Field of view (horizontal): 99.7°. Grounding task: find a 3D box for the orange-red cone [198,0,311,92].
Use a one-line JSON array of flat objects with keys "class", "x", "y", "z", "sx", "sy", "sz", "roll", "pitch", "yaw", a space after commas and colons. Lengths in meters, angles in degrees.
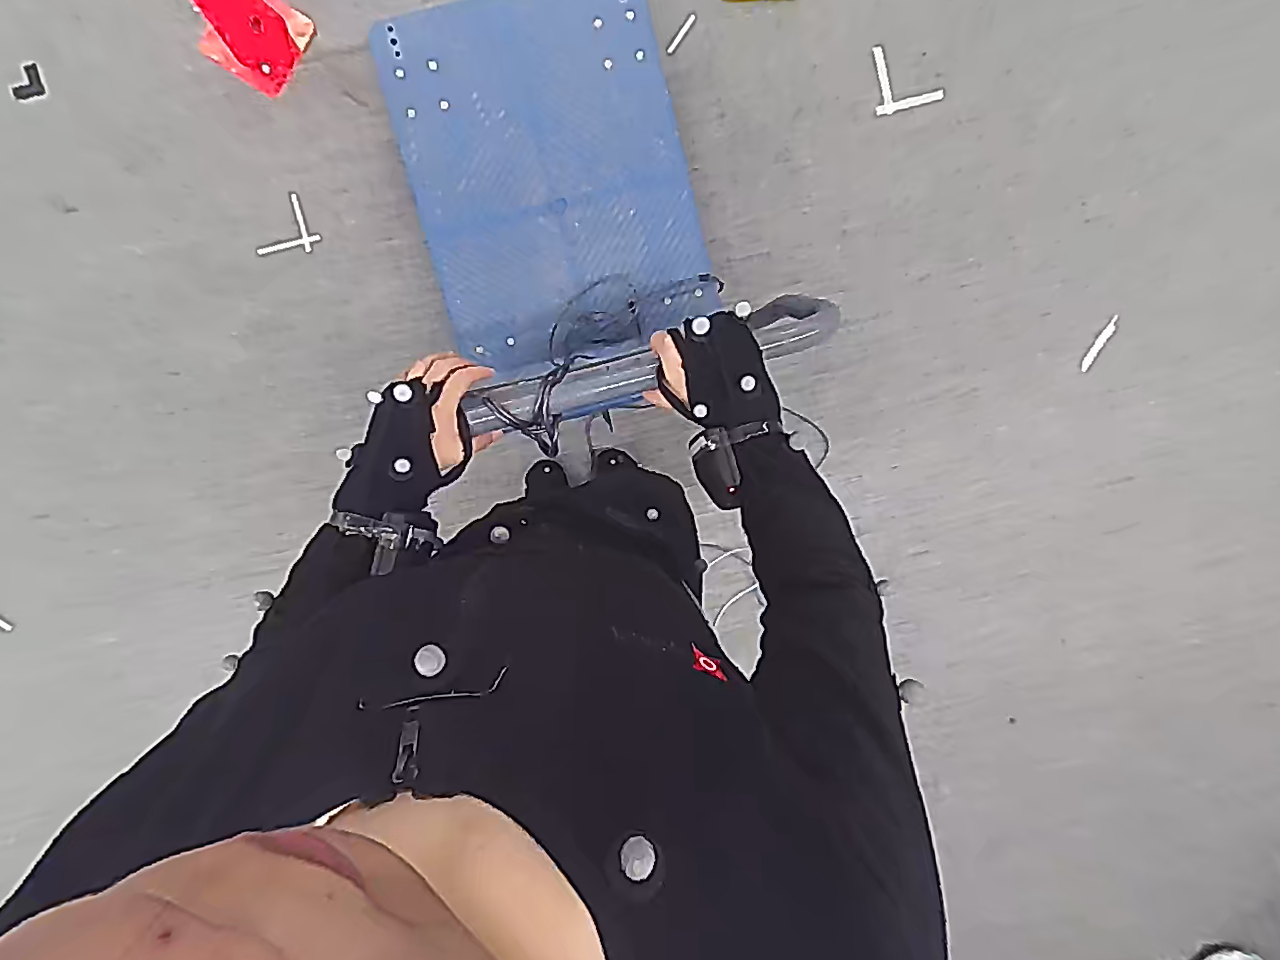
[{"class": "orange-red cone", "x": -0.869, "y": -1.008, "z": 1.066, "sx": 0.198, "sy": 0.360, "sz": 0.199, "roll": 32, "pitch": 91, "yaw": -6}]
